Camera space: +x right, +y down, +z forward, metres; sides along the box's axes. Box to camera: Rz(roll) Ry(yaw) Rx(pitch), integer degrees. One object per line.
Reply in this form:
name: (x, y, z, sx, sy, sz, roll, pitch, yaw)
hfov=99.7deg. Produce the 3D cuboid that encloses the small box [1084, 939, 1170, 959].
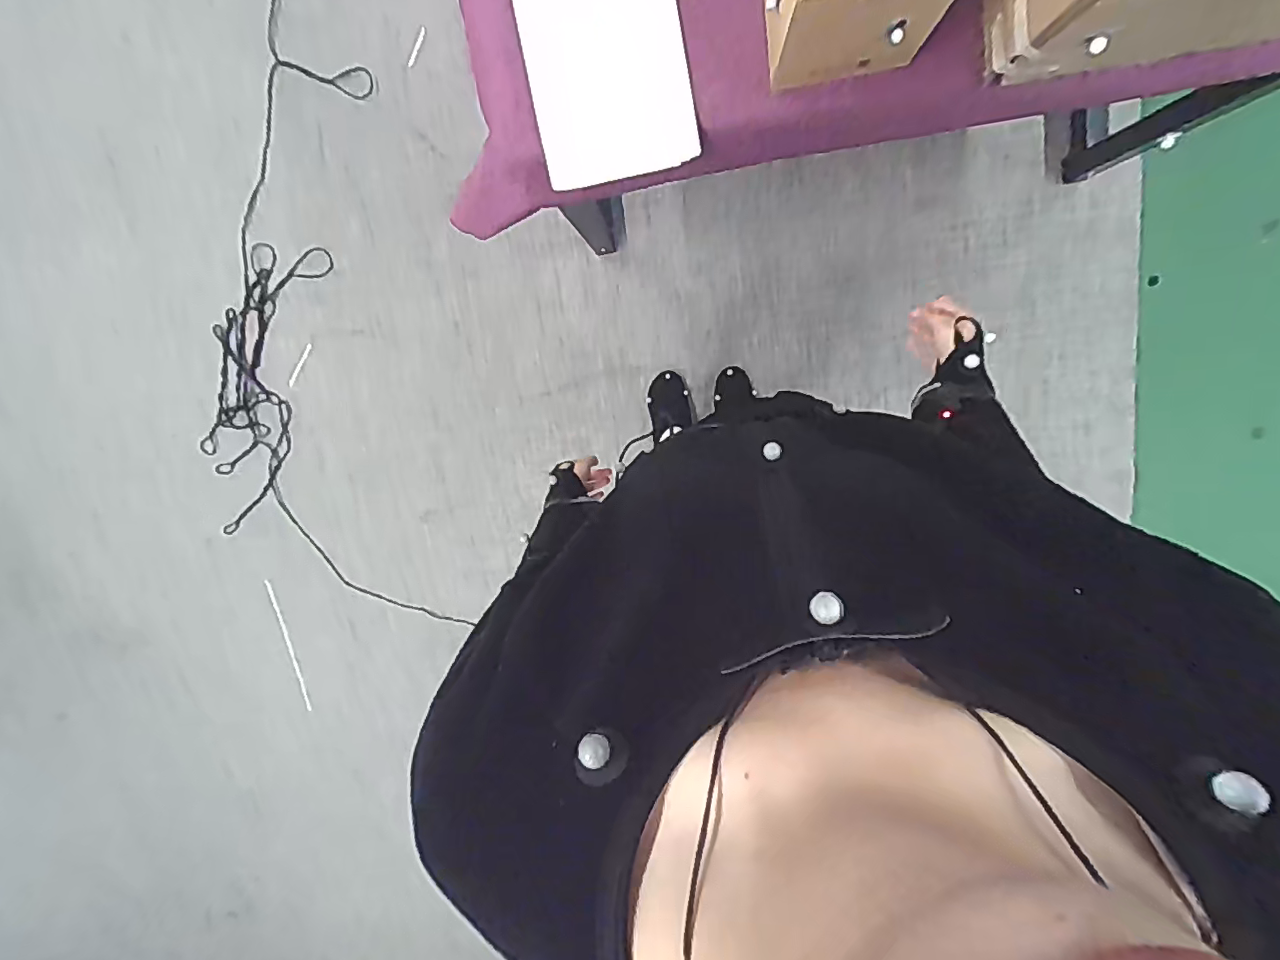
small box: (1.184, 1.228, 1.261, 0.179, 0.176, 0.168, -17, 99, 9)

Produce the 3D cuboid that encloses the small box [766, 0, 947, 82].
small box: (0.227, -0.555, 0.565, 0.168, 0.176, 0.179, -6, 99, 6)
